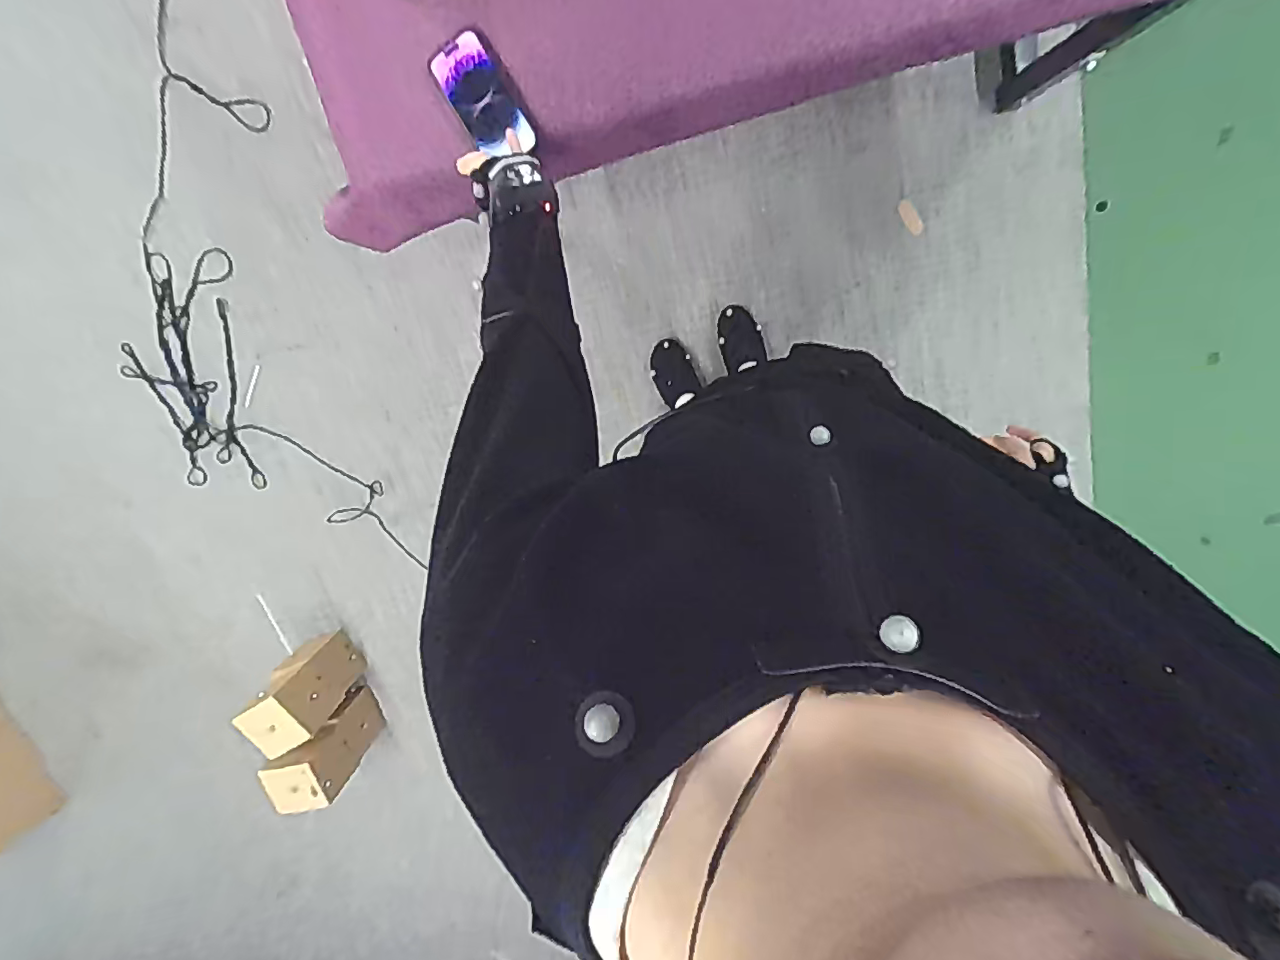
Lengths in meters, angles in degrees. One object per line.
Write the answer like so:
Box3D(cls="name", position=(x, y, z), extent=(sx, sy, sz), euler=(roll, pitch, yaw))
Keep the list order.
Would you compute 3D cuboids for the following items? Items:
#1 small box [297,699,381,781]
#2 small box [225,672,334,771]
Box3D(cls="small box", position=(-1.000, 0.851, 1.790), extent=(0.168, 0.176, 0.179), euler=(-13, 106, 9))
Box3D(cls="small box", position=(-1.034, 0.697, 1.576), extent=(0.179, 0.176, 0.168), euler=(-31, 102, 13))
